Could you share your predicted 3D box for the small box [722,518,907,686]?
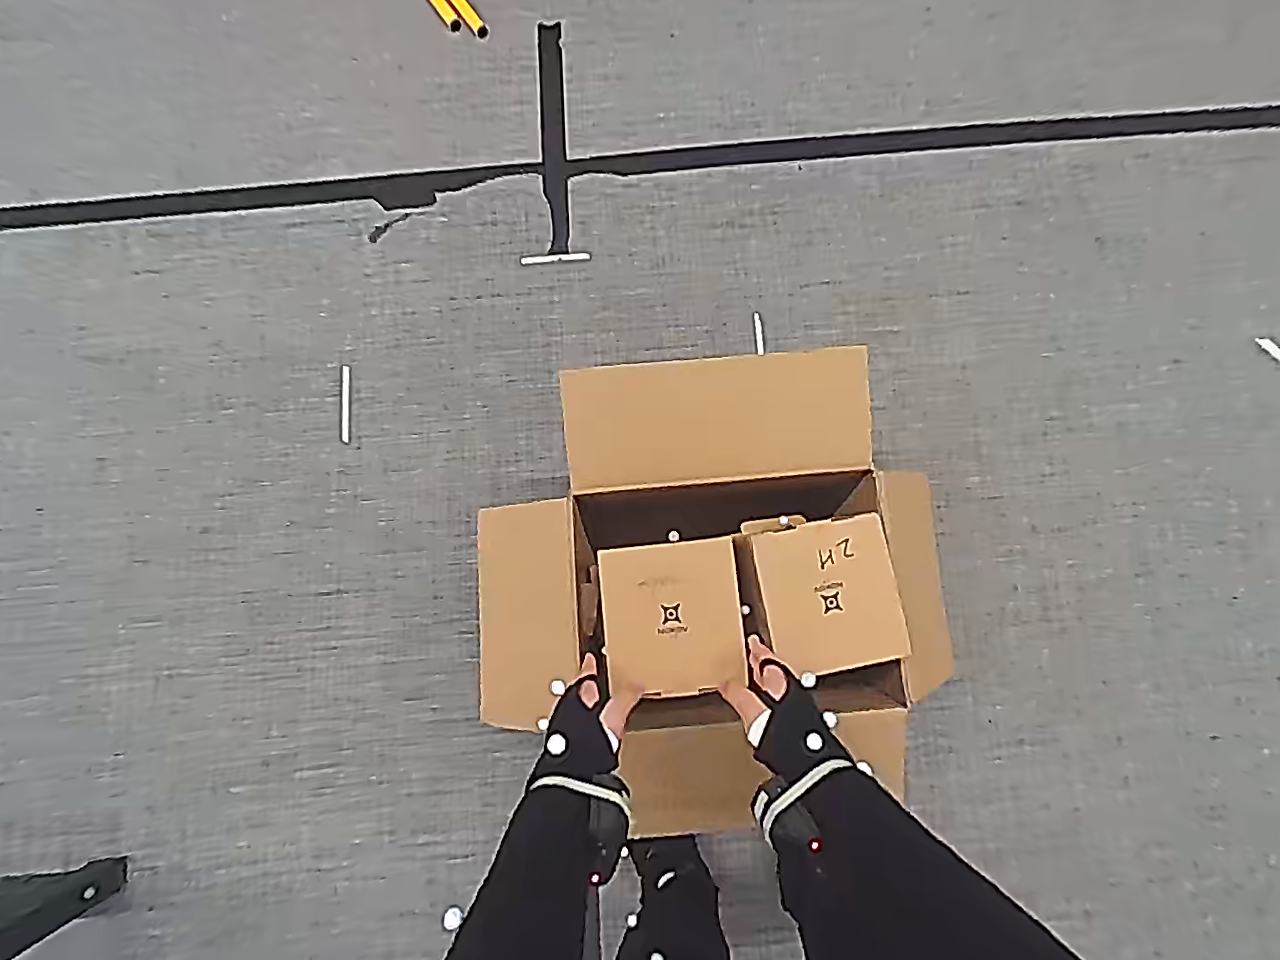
[{"bbox_3d":[0.217,0.152,0.719,0.168,0.176,0.179,-10,83,-5],"label":"small box"}]
